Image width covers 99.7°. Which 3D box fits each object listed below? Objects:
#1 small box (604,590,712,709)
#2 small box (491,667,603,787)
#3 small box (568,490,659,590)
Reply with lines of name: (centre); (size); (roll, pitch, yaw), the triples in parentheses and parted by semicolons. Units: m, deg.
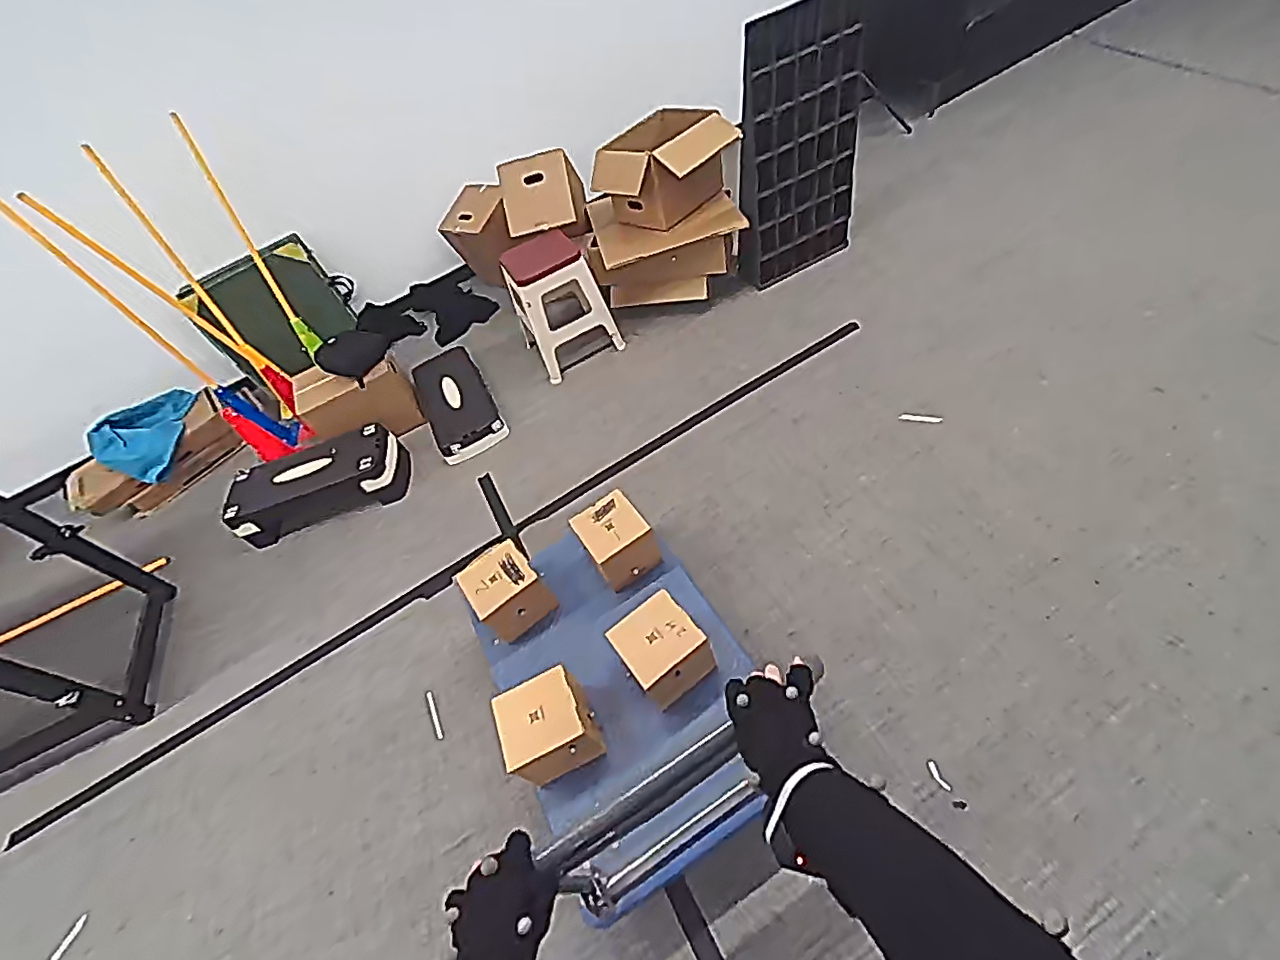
small box: (0.049, 0.399, 1.260); (0.179, 0.176, 0.168); (-36, 52, -12)
small box: (-0.206, 0.557, 1.212); (0.179, 0.176, 0.168); (-26, 50, -6)
small box: (-0.069, 0.168, 1.479); (0.168, 0.176, 0.179); (-34, 52, -11)
